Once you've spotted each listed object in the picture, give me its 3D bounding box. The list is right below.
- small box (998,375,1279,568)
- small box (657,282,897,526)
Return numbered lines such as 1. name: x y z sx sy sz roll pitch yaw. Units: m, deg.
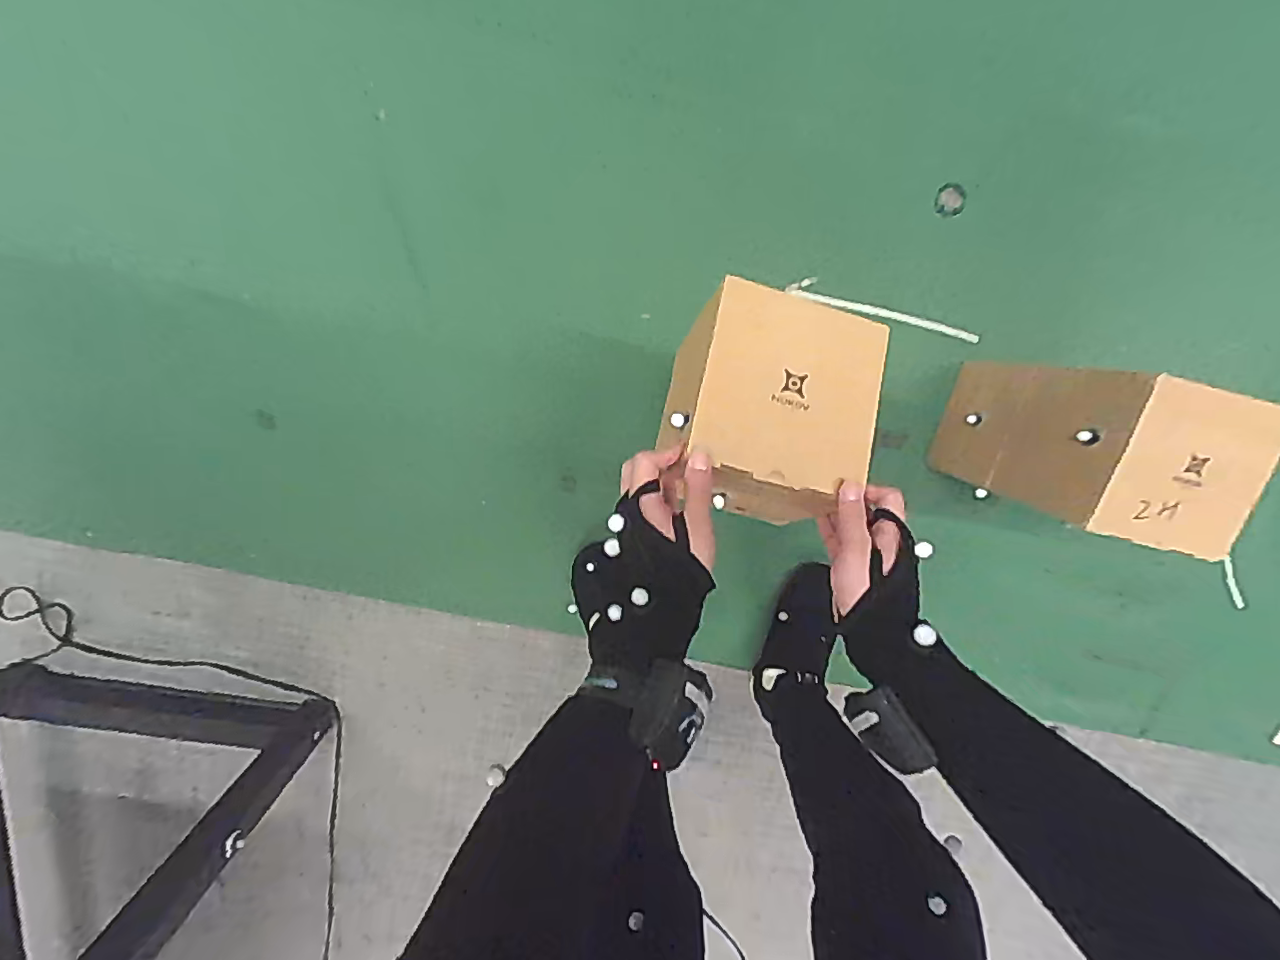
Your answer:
1. small box: 0.579 -0.022 0.649 0.168 0.176 0.179 14 104 -4
2. small box: 0.124 -0.059 0.544 0.168 0.176 0.179 15 80 -8
